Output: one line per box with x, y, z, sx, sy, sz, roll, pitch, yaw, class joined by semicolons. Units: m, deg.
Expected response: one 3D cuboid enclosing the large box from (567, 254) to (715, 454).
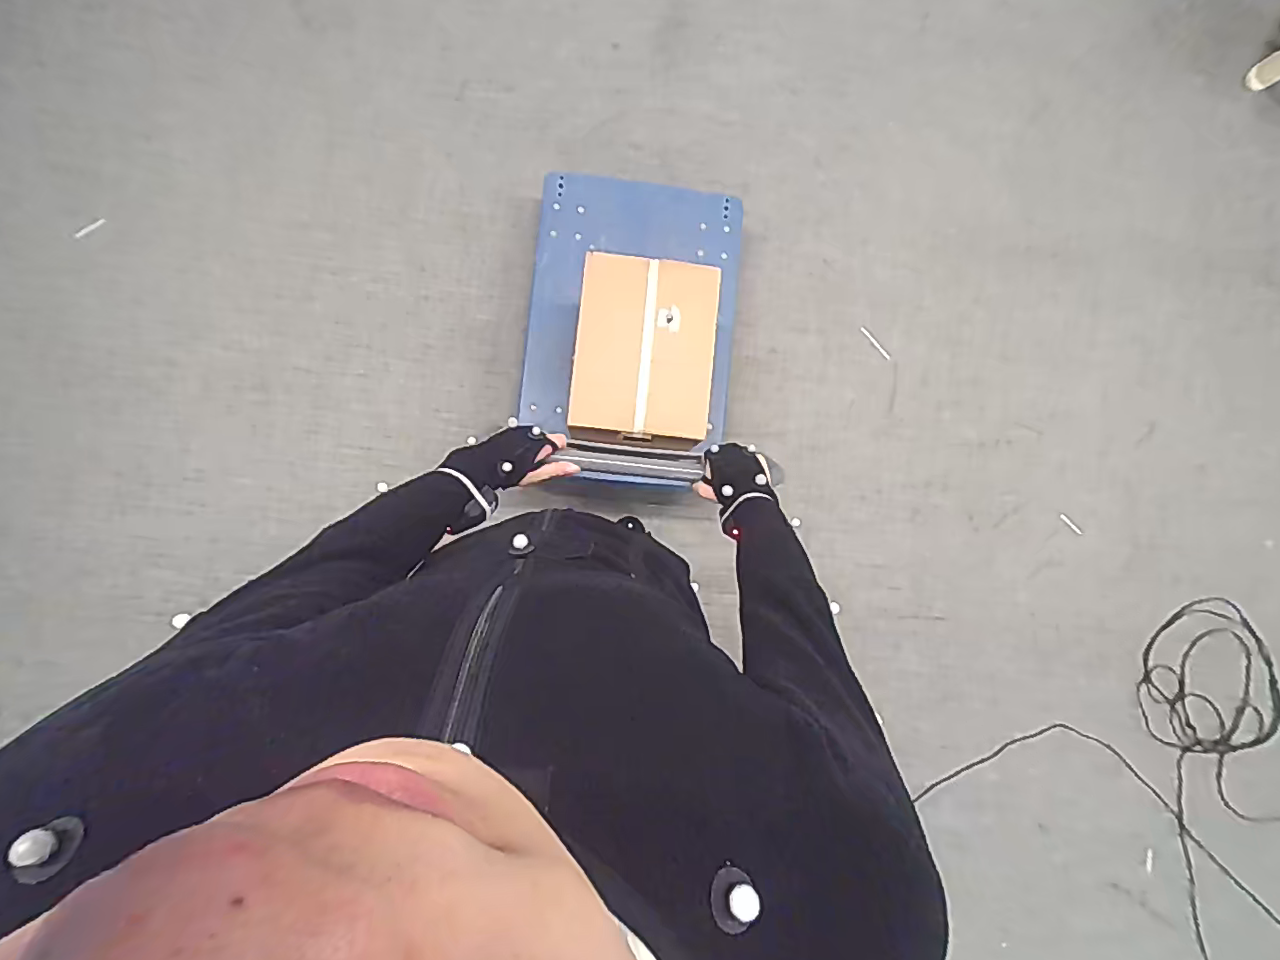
-0.004;-0.290;1.363;0.320;0.320;0.408;6;85;-5;large box
